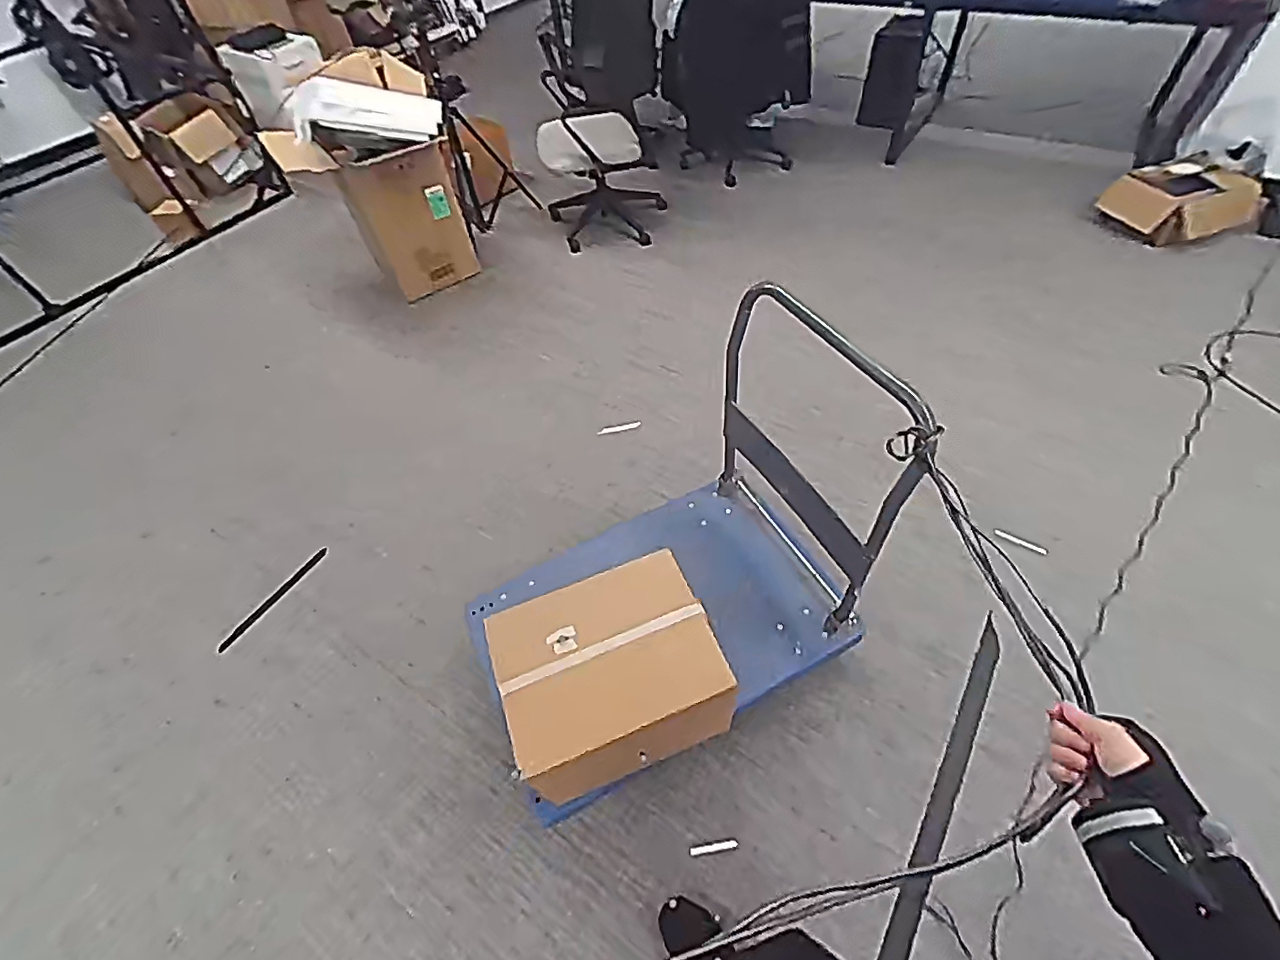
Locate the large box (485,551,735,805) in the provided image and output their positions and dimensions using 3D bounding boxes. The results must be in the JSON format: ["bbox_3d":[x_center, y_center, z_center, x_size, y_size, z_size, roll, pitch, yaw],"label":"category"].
[{"bbox_3d":[-0.053,0.413,1.126,0.408,0.320,0.320,-21,52,-9],"label":"large box"}]
